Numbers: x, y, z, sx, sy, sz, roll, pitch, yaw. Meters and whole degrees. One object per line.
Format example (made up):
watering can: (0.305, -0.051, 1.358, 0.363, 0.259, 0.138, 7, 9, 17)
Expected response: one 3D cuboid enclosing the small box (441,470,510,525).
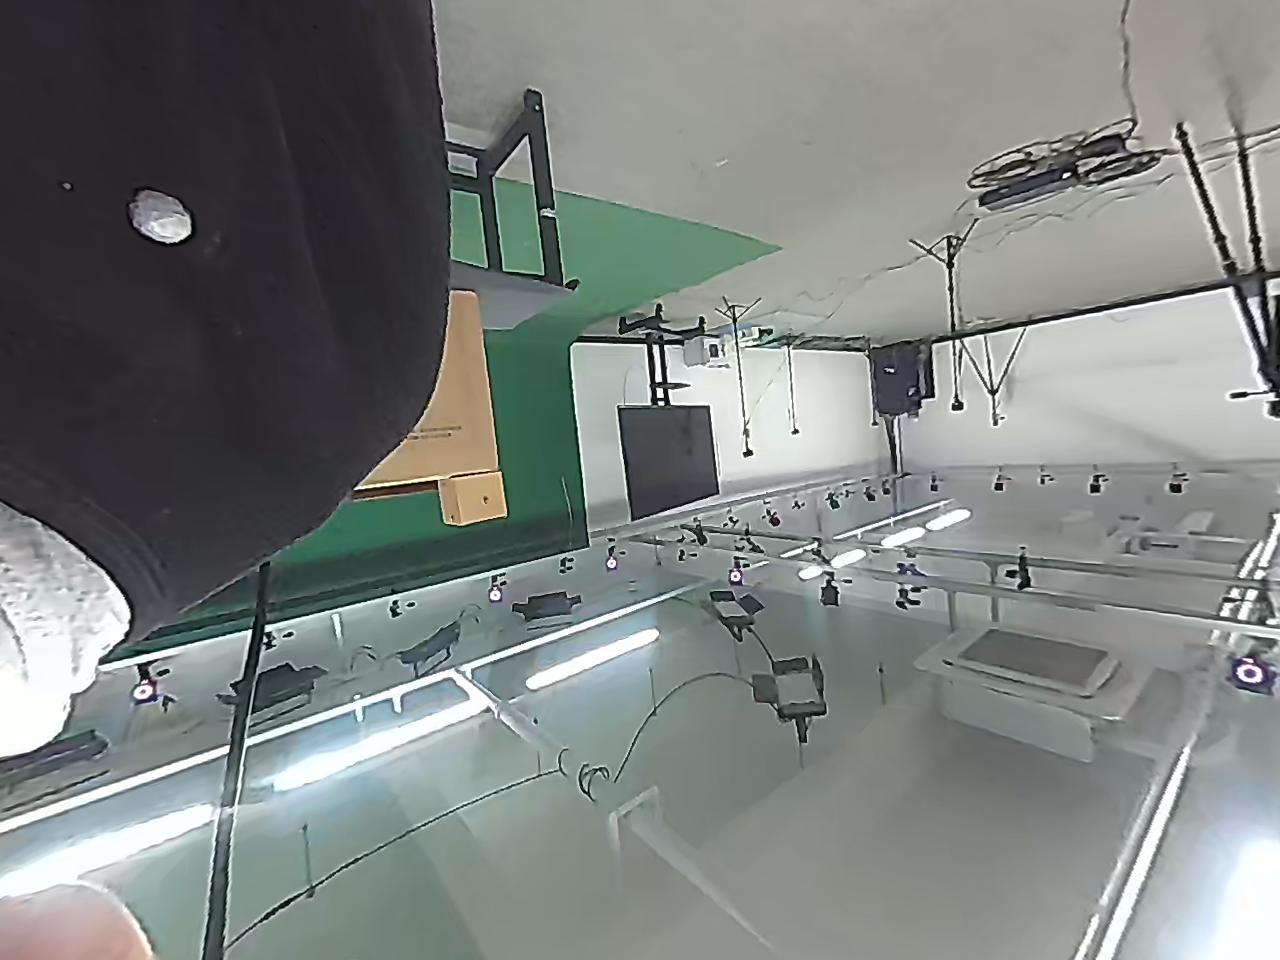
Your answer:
small box: (-0.594, 0.057, 1.949, 0.179, 0.176, 0.168, -13, -173, -39)
